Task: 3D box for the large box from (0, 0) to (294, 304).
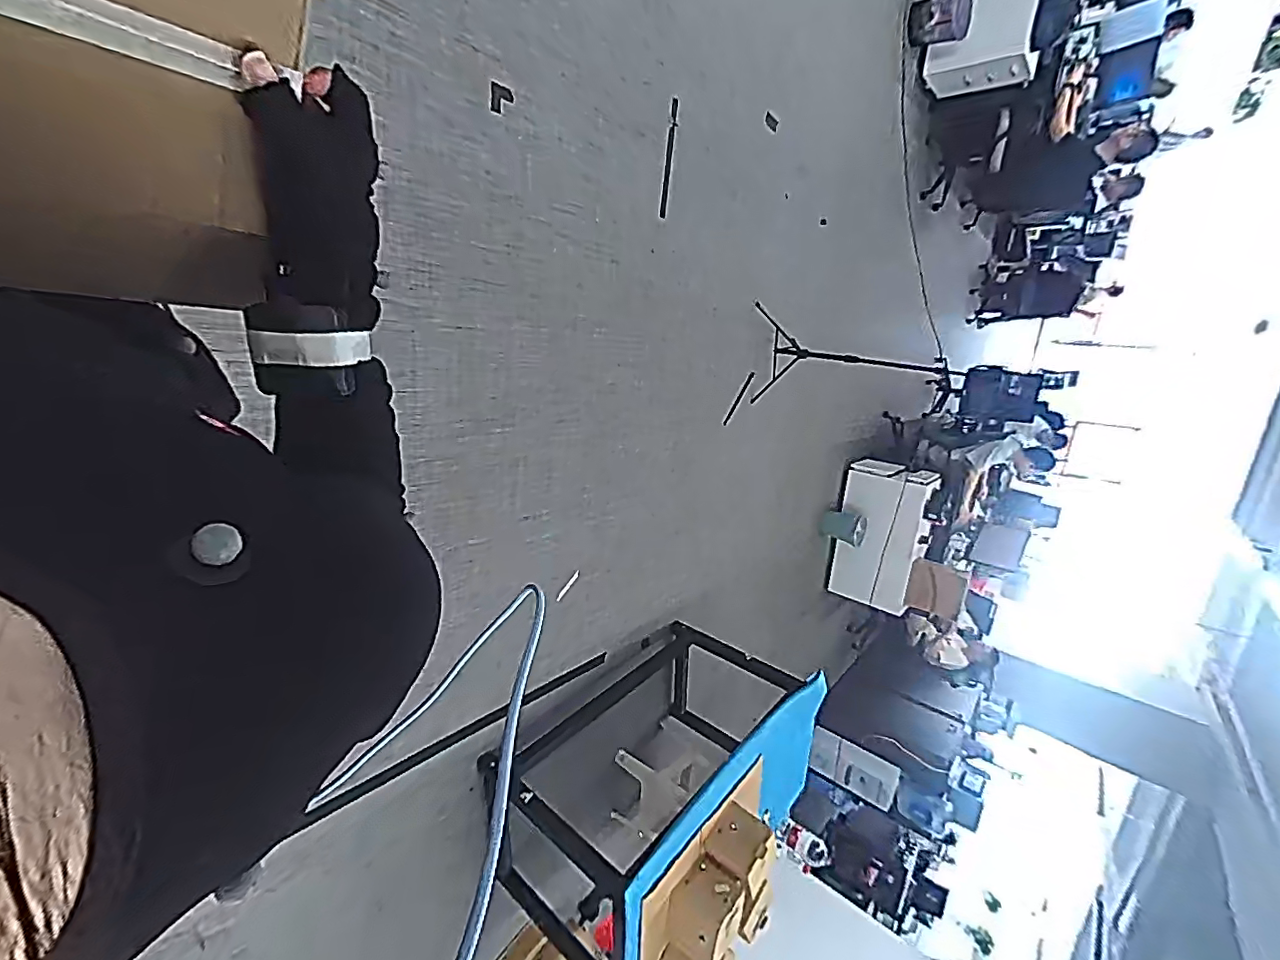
[{"bbox_3d":[-0.435,-0.322,0.256,0.408,0.320,0.320,-9,143,-45],"label":"large box"}]
